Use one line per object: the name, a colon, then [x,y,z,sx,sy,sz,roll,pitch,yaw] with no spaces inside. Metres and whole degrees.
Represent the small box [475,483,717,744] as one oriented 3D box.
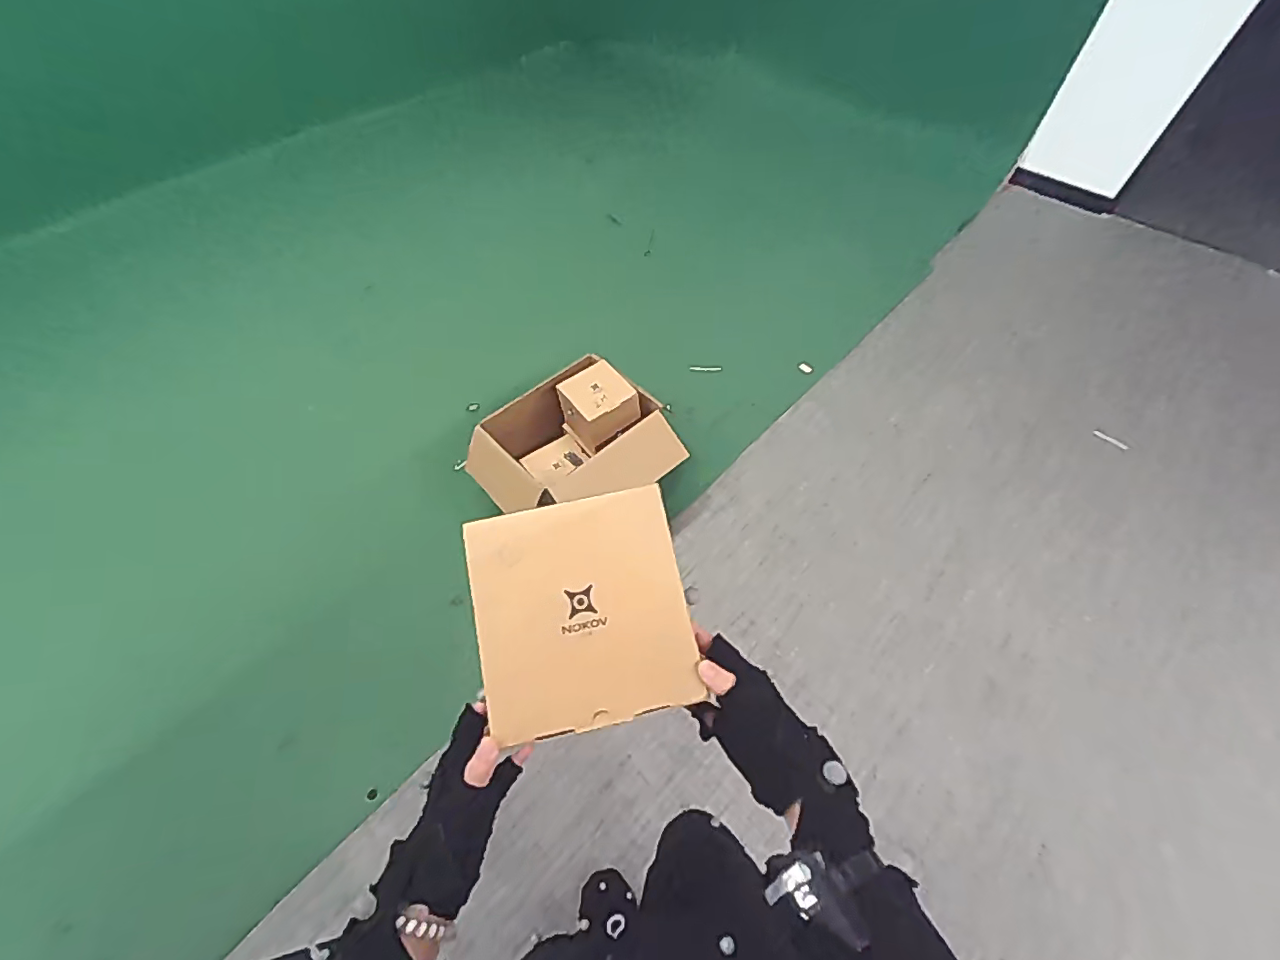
small box: [-0.042,0.120,0.501,0.168,0.176,0.179,-12,76,-6]
